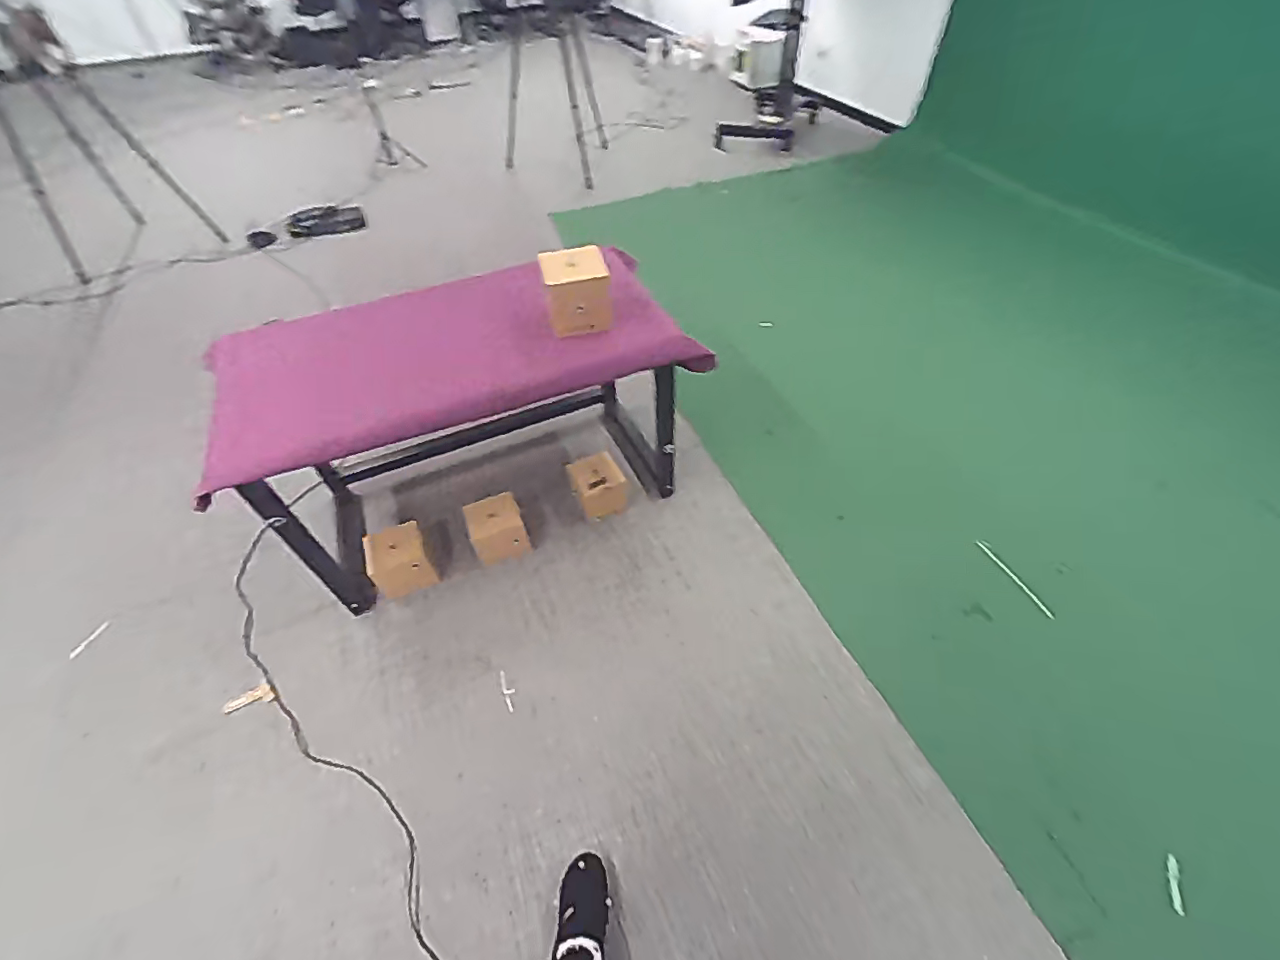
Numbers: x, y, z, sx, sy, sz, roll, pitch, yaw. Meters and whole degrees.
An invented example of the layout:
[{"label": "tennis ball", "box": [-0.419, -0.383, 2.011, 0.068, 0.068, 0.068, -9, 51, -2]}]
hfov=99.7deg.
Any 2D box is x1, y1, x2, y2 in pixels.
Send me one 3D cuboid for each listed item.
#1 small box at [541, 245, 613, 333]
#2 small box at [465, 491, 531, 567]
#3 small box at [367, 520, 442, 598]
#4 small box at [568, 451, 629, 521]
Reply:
[{"label": "small box", "box": [-0.174, -0.527, 1.516, 0.168, 0.176, 0.179, -12, 50, -7]}, {"label": "small box", "box": [-0.490, 0.173, 1.890, 0.179, 0.176, 0.168, -20, 50, -12]}, {"label": "small box", "box": [-0.794, 0.270, 1.823, 0.179, 0.176, 0.168, -20, 51, -14]}, {"label": "small box", "box": [-0.148, 0.031, 1.992, 0.168, 0.176, 0.179, -22, 51, -16]}]
